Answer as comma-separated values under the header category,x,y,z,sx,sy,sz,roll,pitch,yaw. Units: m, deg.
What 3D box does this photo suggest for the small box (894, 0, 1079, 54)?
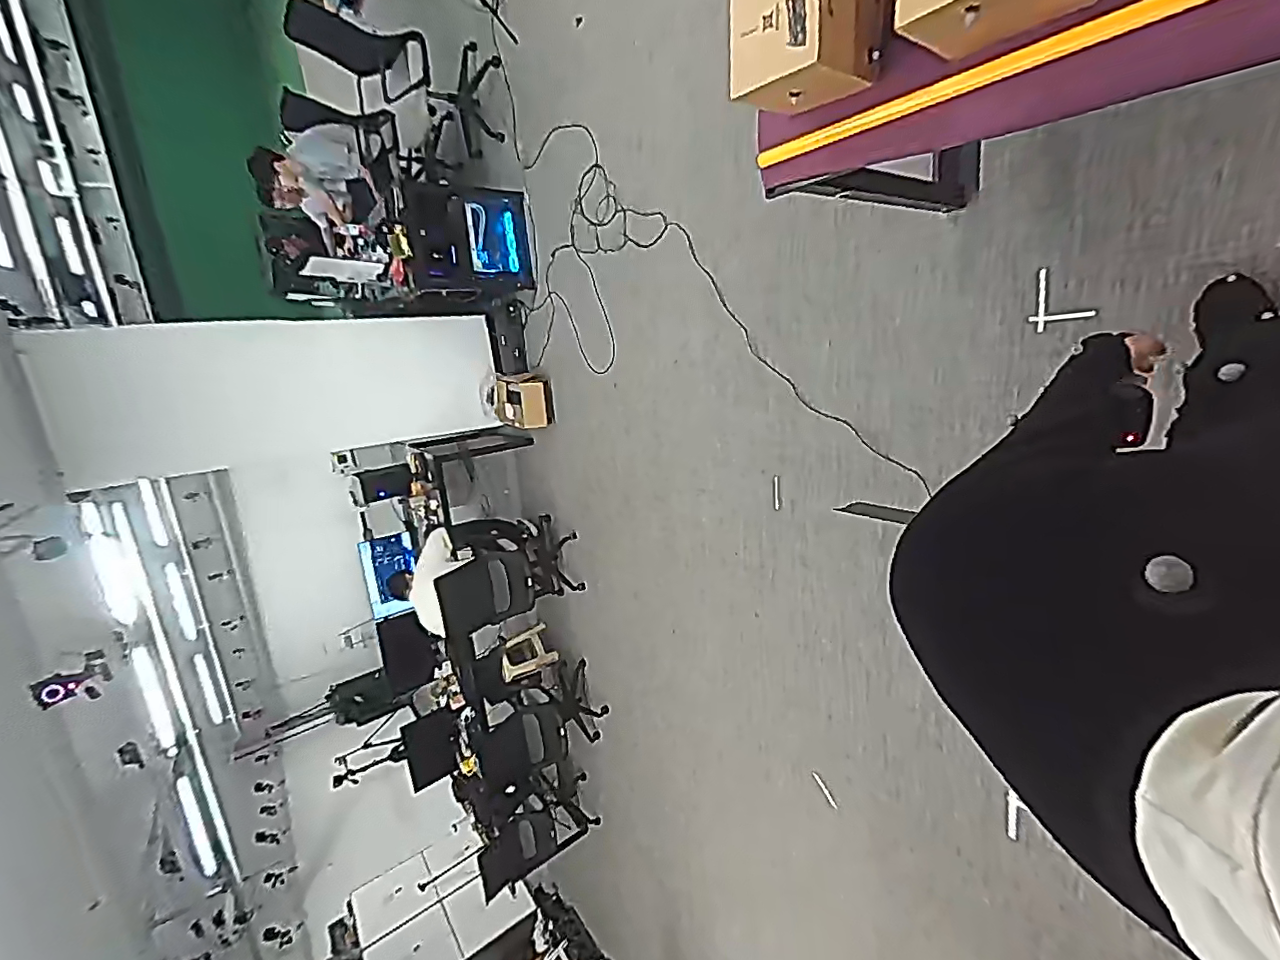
category,x,y,z,sx,sy,sz,roll,pitch,yaw
small box,0.438,-0.659,0.653,0.179,0.176,0.168,17,116,52

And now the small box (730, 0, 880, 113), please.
category,x,y,z,sx,sy,sz,roll,pitch,yaw
small box,0.265,-0.718,0.869,0.179,0.176,0.168,20,118,50
